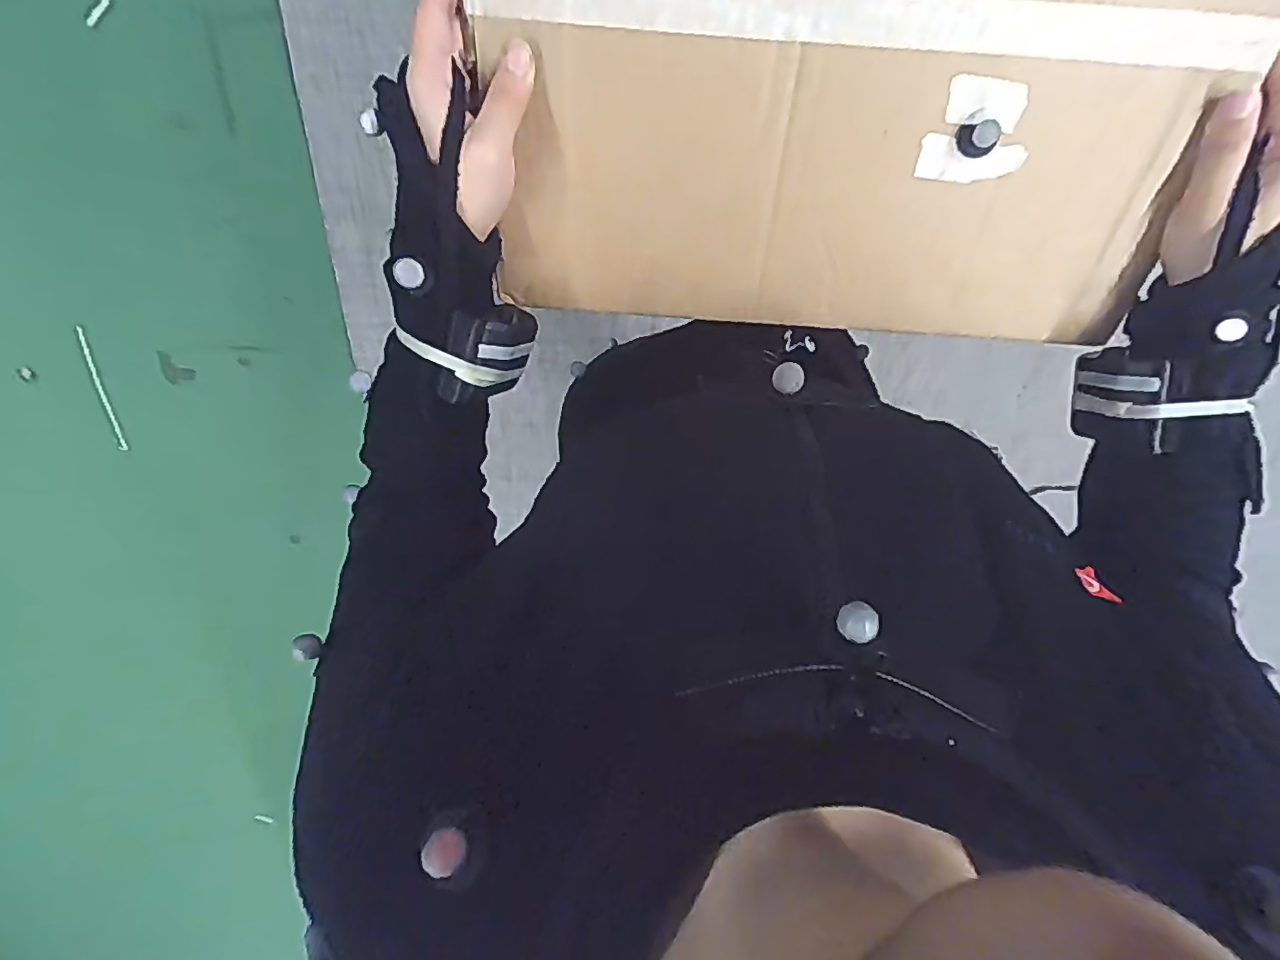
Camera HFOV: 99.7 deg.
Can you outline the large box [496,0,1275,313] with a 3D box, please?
[{"bbox_3d":[0.122,-0.329,0.398,0.408,0.320,0.320,2,126,-2],"label":"large box"}]
